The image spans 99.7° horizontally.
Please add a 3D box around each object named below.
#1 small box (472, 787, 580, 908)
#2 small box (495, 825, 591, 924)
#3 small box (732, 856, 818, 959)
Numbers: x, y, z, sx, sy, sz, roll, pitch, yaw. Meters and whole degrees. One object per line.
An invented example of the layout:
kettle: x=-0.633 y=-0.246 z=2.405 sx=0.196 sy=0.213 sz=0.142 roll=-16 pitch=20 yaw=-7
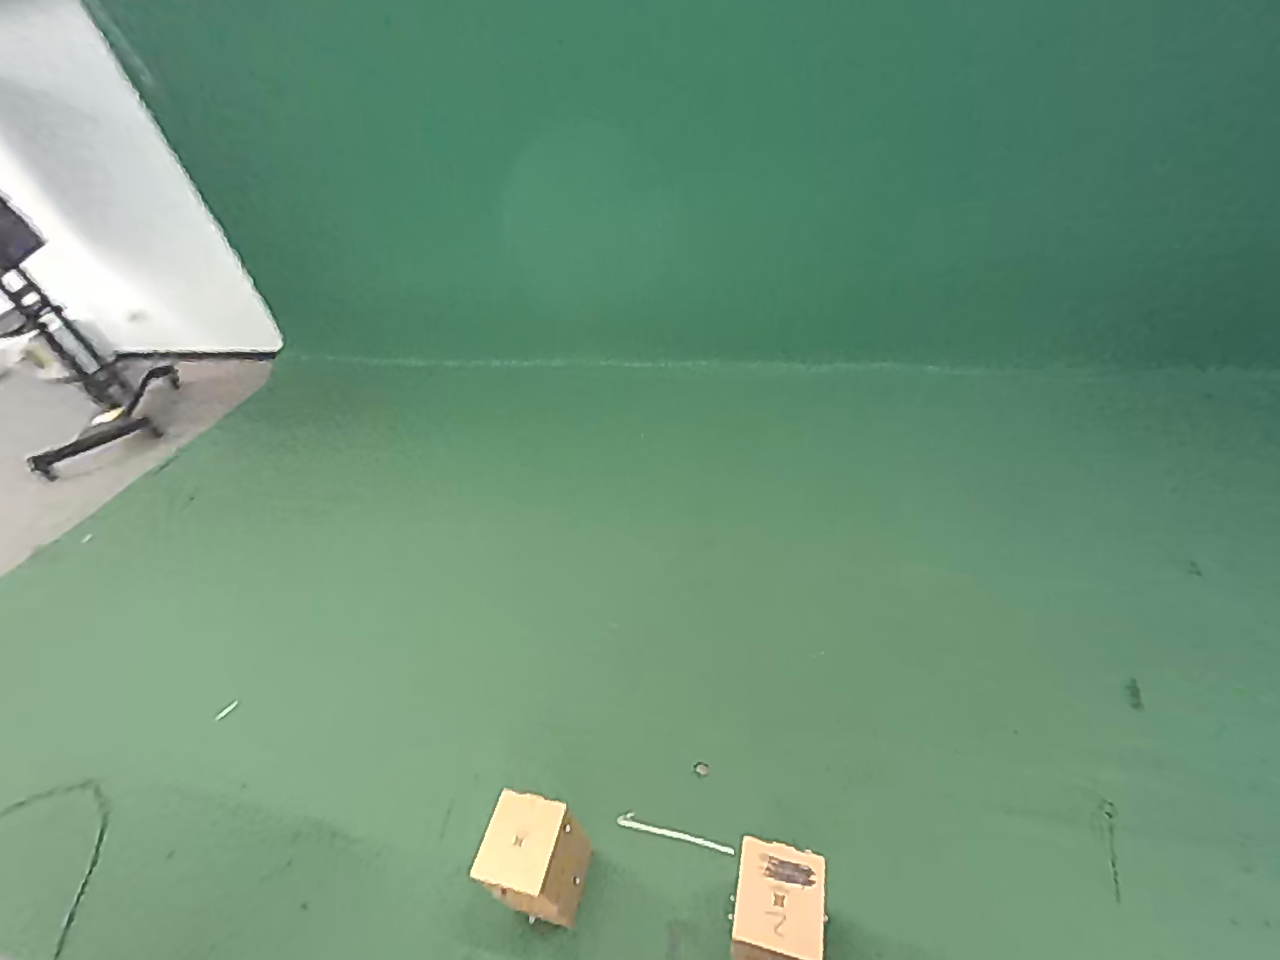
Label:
small box: x=-0.250 y=0.846 z=1.242 sx=0.168 sy=0.176 sz=0.179 roll=3 pitch=42 yaw=16
small box: x=-0.231 y=0.966 z=1.348 sx=0.168 sy=0.176 sz=0.179 roll=4 pitch=43 yaw=16
small box: x=0.301 y=0.991 z=1.214 sx=0.168 sy=0.176 sz=0.179 roll=6 pitch=44 yaw=17
